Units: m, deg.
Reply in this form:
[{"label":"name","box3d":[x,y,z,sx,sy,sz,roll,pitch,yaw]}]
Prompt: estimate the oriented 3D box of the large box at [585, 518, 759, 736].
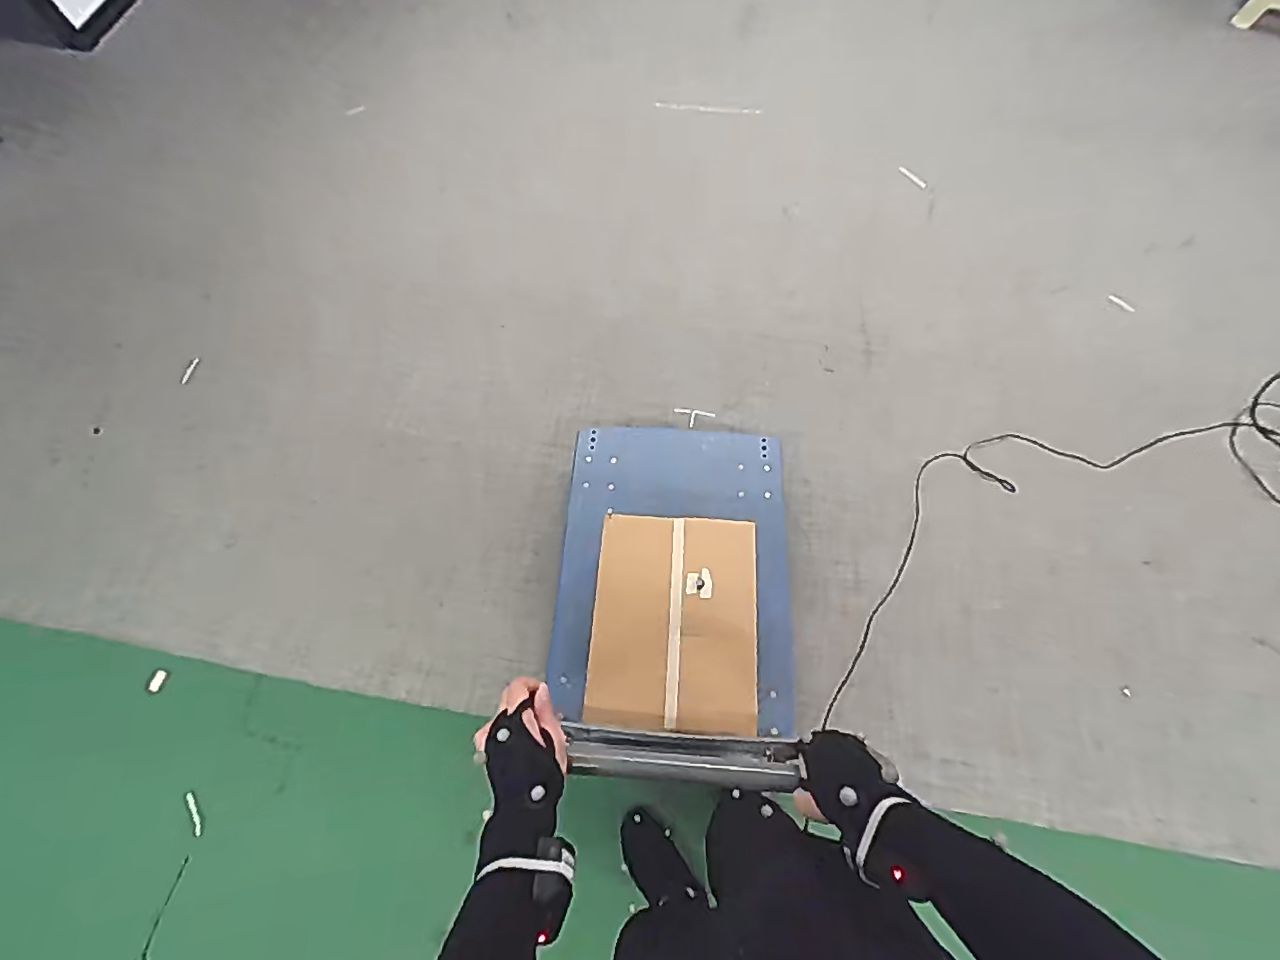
[{"label":"large box","box3d":[0.072,0.328,1.170,0.320,0.320,0.408,3,65,3]}]
